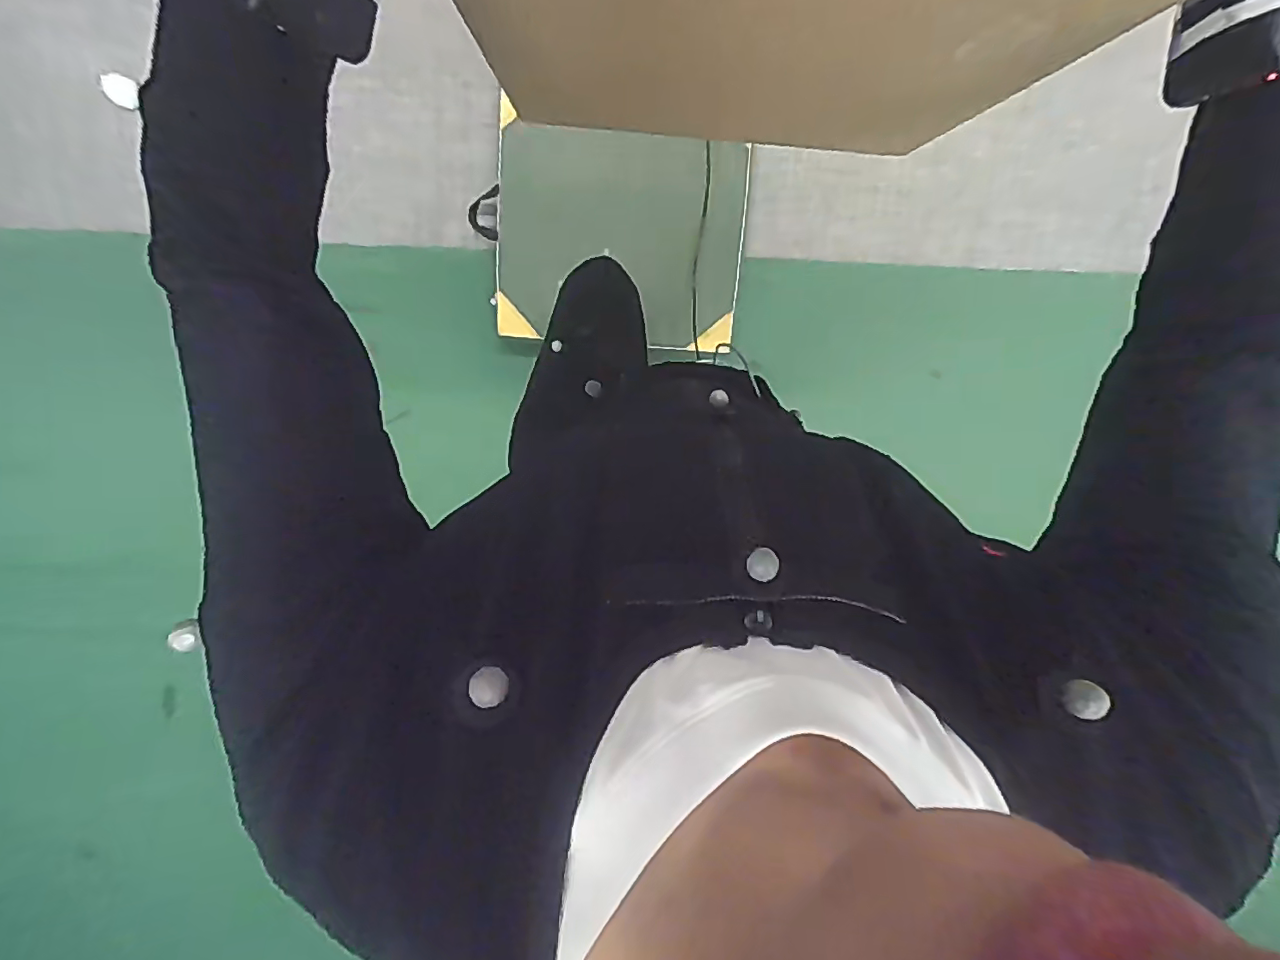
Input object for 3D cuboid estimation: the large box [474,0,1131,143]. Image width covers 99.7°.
[{"bbox_3d":[0.092,-0.458,0.370,0.408,0.320,0.320,2,108,-4],"label":"large box"}]
